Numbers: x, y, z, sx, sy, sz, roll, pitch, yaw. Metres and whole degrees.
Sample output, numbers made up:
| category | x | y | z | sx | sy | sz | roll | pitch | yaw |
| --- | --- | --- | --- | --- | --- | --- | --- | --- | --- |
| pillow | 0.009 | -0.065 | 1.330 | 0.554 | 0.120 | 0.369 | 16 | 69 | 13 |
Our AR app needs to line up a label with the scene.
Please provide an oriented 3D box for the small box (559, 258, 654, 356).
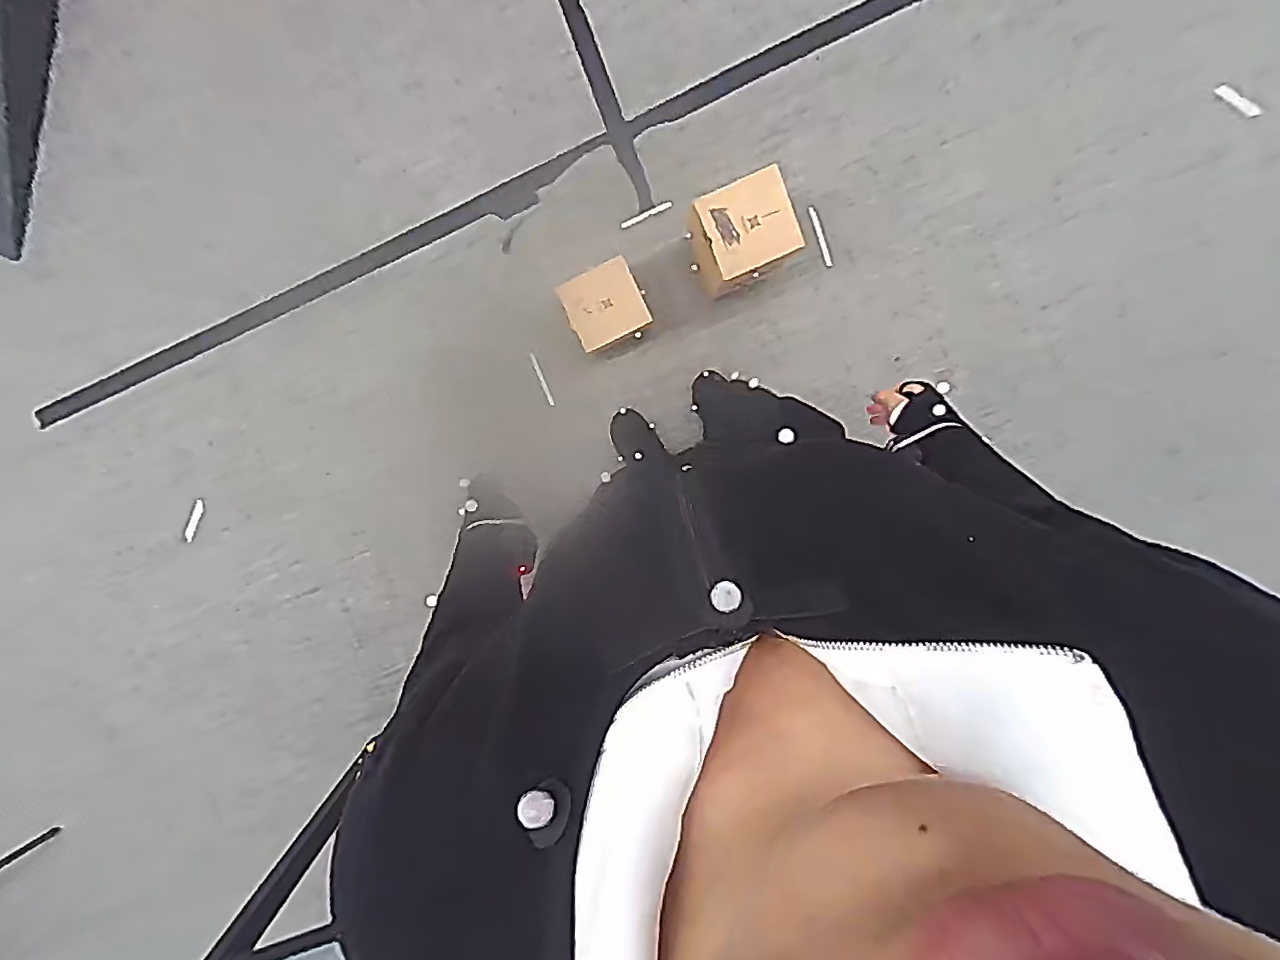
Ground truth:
| category | x | y | z | sx | sy | sz | roll | pitch | yaw |
| --- | --- | --- | --- | --- | --- | --- | --- | --- | --- |
| small box | -0.077 | -0.418 | 1.327 | 0.179 | 0.176 | 0.168 | -25 | 100 | 6 |

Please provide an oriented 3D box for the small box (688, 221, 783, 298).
| category | x | y | z | sx | sy | sz | roll | pitch | yaw |
| --- | --- | --- | --- | --- | --- | --- | --- | --- | --- |
| small box | 0.223 | -0.549 | 1.299 | 0.168 | 0.176 | 0.179 | -21 | 102 | 5 |

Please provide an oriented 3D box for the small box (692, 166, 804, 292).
| category | x | y | z | sx | sy | sz | roll | pitch | yaw |
| --- | --- | --- | --- | --- | --- | --- | --- | --- | --- |
| small box | 0.217 | -0.514 | 1.137 | 0.179 | 0.176 | 0.168 | -23 | 101 | 4 |
